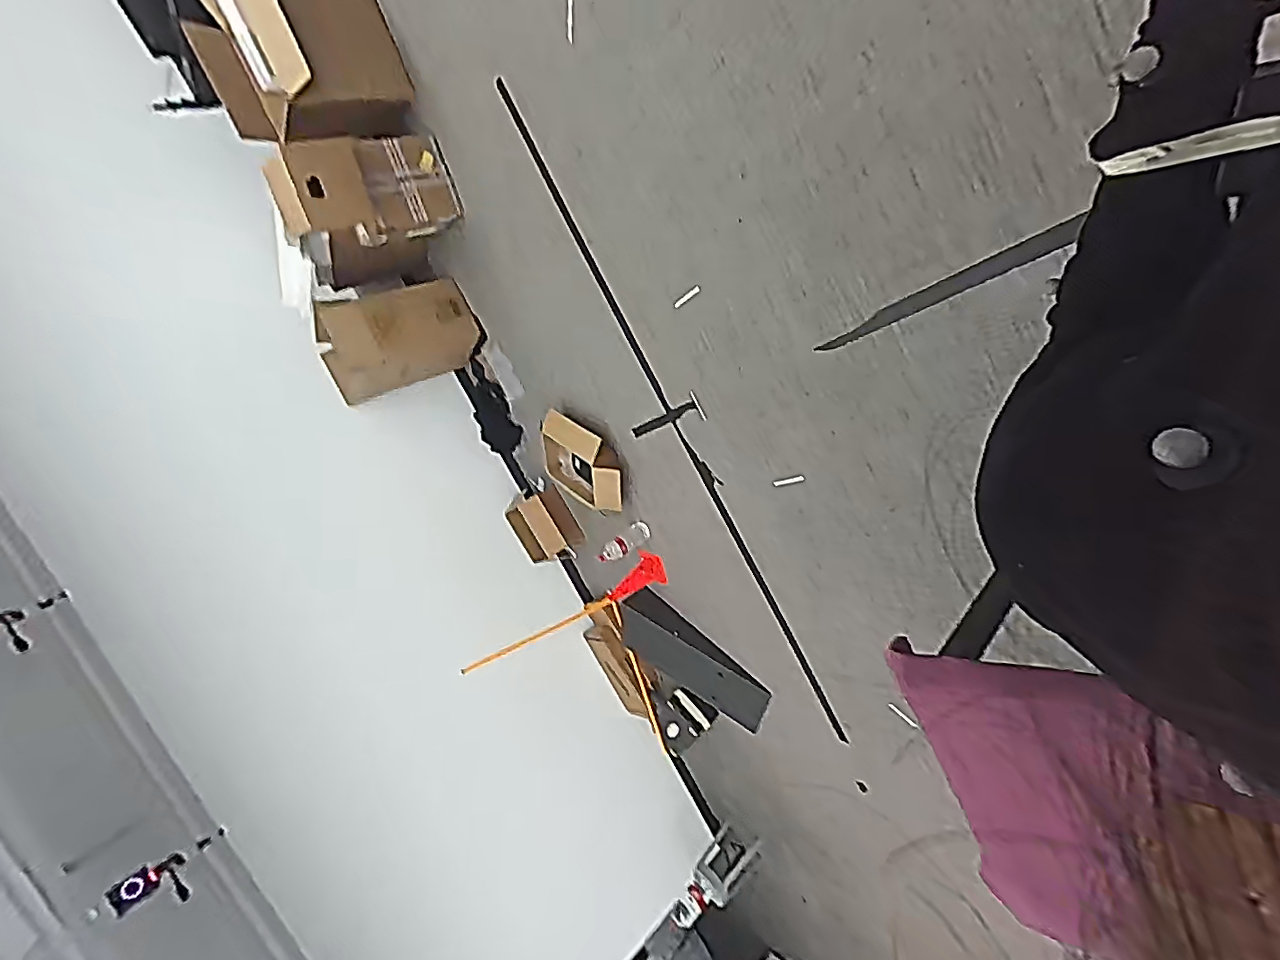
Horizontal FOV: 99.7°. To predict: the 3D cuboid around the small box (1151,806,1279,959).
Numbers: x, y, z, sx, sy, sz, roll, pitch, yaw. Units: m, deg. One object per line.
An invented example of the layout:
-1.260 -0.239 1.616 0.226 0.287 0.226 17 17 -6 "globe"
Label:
0.802 0.559 0.684 0.179 0.176 0.168 -15 103 58 "small box"
